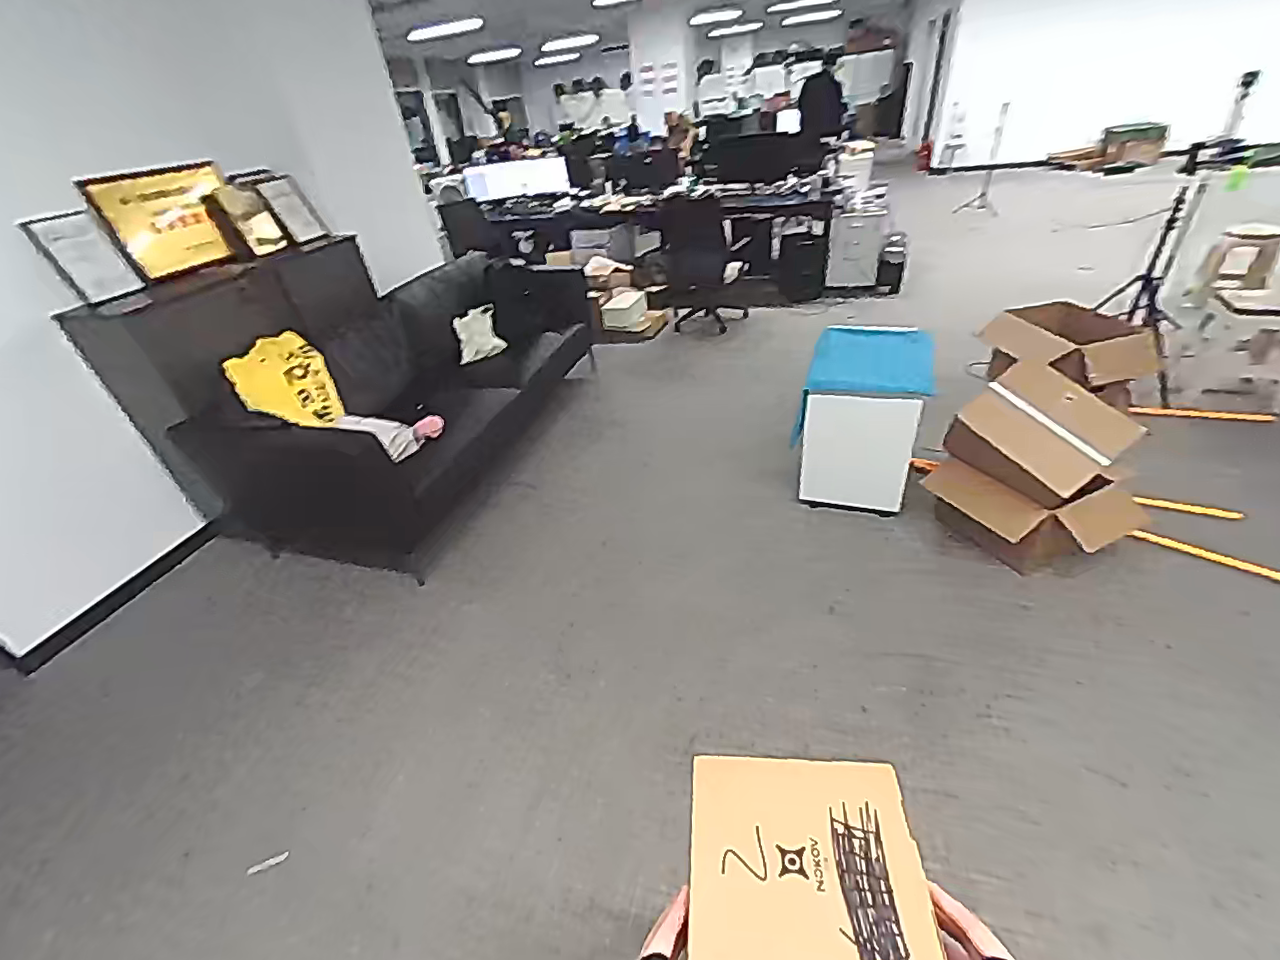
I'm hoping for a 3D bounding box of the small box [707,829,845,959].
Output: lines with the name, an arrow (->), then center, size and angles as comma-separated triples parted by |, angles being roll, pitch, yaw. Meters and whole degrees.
small box -> 0.188, 0.627, 0.745 | 0.168, 0.176, 0.179 | 2, 37, 17
